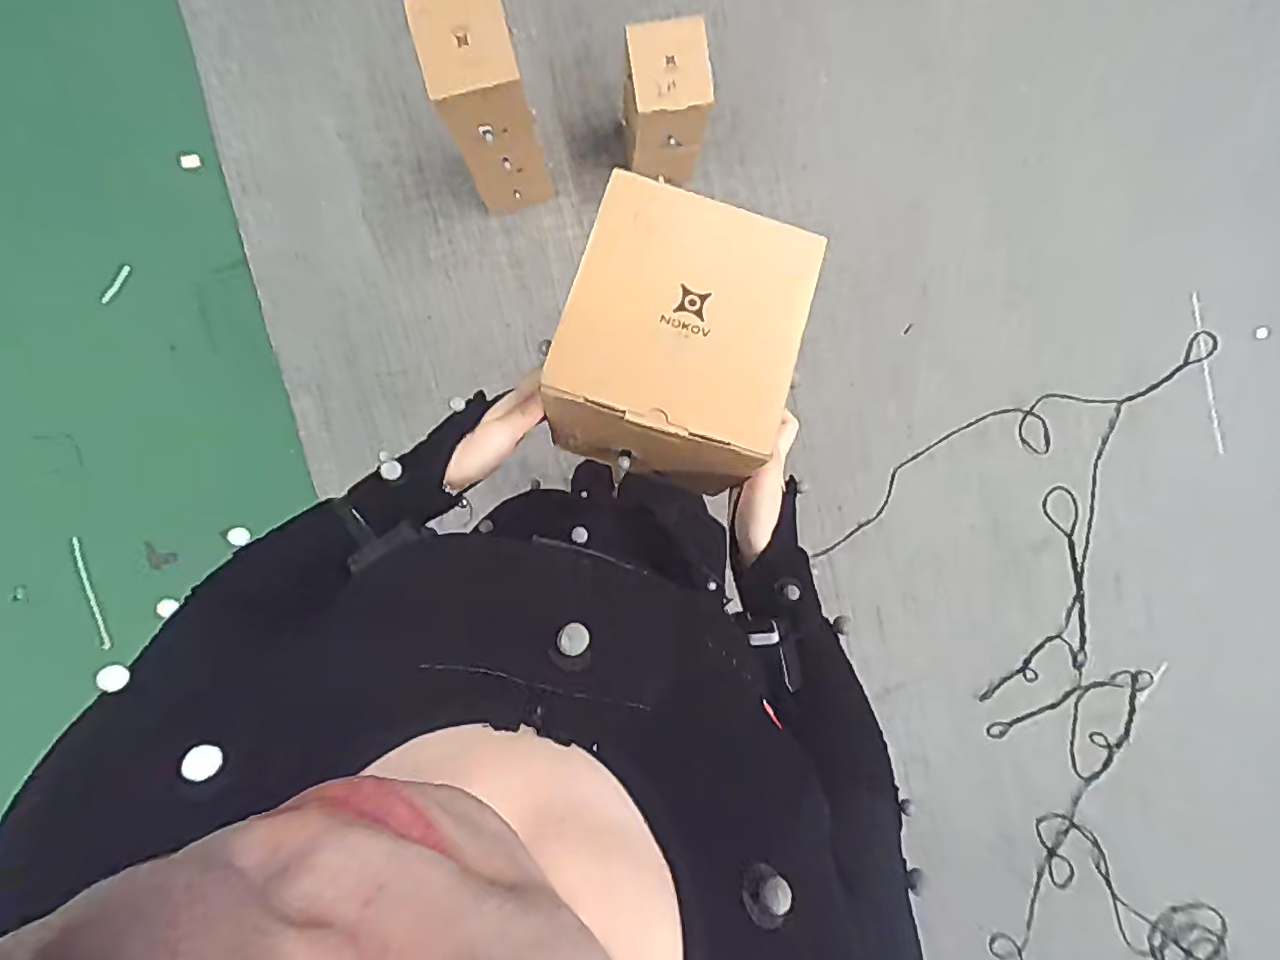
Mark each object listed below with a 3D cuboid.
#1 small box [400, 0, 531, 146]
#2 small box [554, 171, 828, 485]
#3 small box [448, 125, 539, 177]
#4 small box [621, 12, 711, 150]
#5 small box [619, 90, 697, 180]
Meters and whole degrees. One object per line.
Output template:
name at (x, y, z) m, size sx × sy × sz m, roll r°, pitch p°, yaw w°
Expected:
small box at (-0.315, -0.771, 1.011) m, size 0.168 × 0.176 × 0.179 m, roll -16°, pitch 96°, yaw 0°
small box at (0.031, -0.108, 0.460) m, size 0.168 × 0.176 × 0.179 m, roll 17°, pitch 80°, yaw -3°
small box at (-0.327, -0.788, 1.172) m, size 0.168 × 0.176 × 0.179 m, roll -16°, pitch 96°, yaw -1°
small box at (0.051, -0.865, 1.186) m, size 0.168 × 0.176 × 0.179 m, roll -9°, pitch 96°, yaw -2°
small box at (0.040, -0.876, 1.350) m, size 0.168 × 0.176 × 0.179 m, roll -8°, pitch 96°, yaw -2°
